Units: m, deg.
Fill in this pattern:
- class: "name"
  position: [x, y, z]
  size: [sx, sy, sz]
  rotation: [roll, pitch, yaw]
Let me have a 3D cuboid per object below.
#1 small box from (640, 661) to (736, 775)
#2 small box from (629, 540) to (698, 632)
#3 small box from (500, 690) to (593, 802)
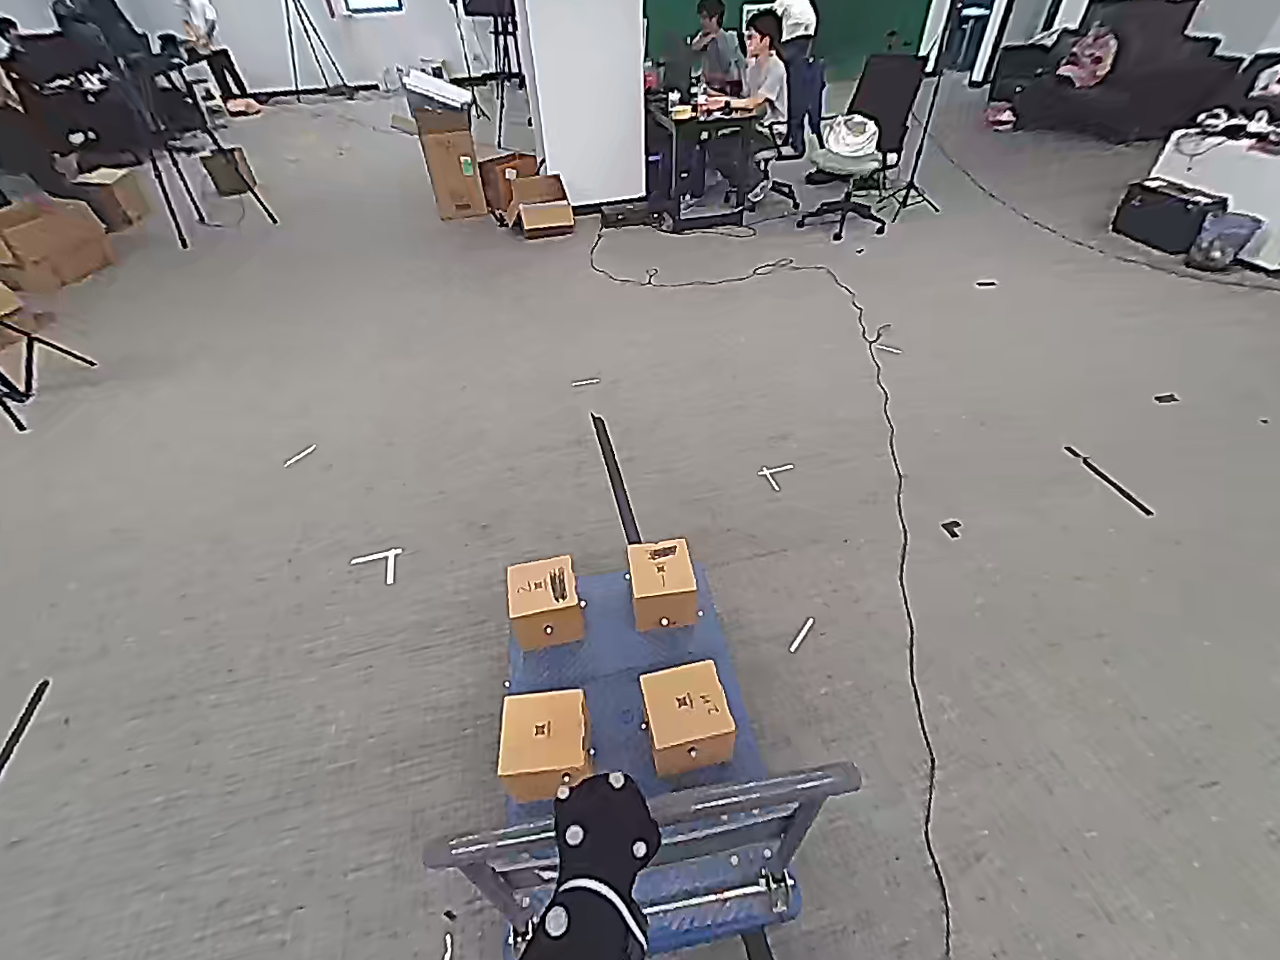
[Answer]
- class: "small box"
  position: [0.105, 0.541, 1.223]
  size: [0.179, 0.176, 0.168]
  rotation: [-10, 44, -7]
- class: "small box"
  position: [0.059, 0.293, 1.493]
  size: [0.168, 0.176, 0.179]
  rotation: [-7, 44, -4]
- class: "small box"
  position: [-0.199, 0.589, 1.191]
  size: [0.179, 0.176, 0.168]
  rotation: [-5, 42, -4]
